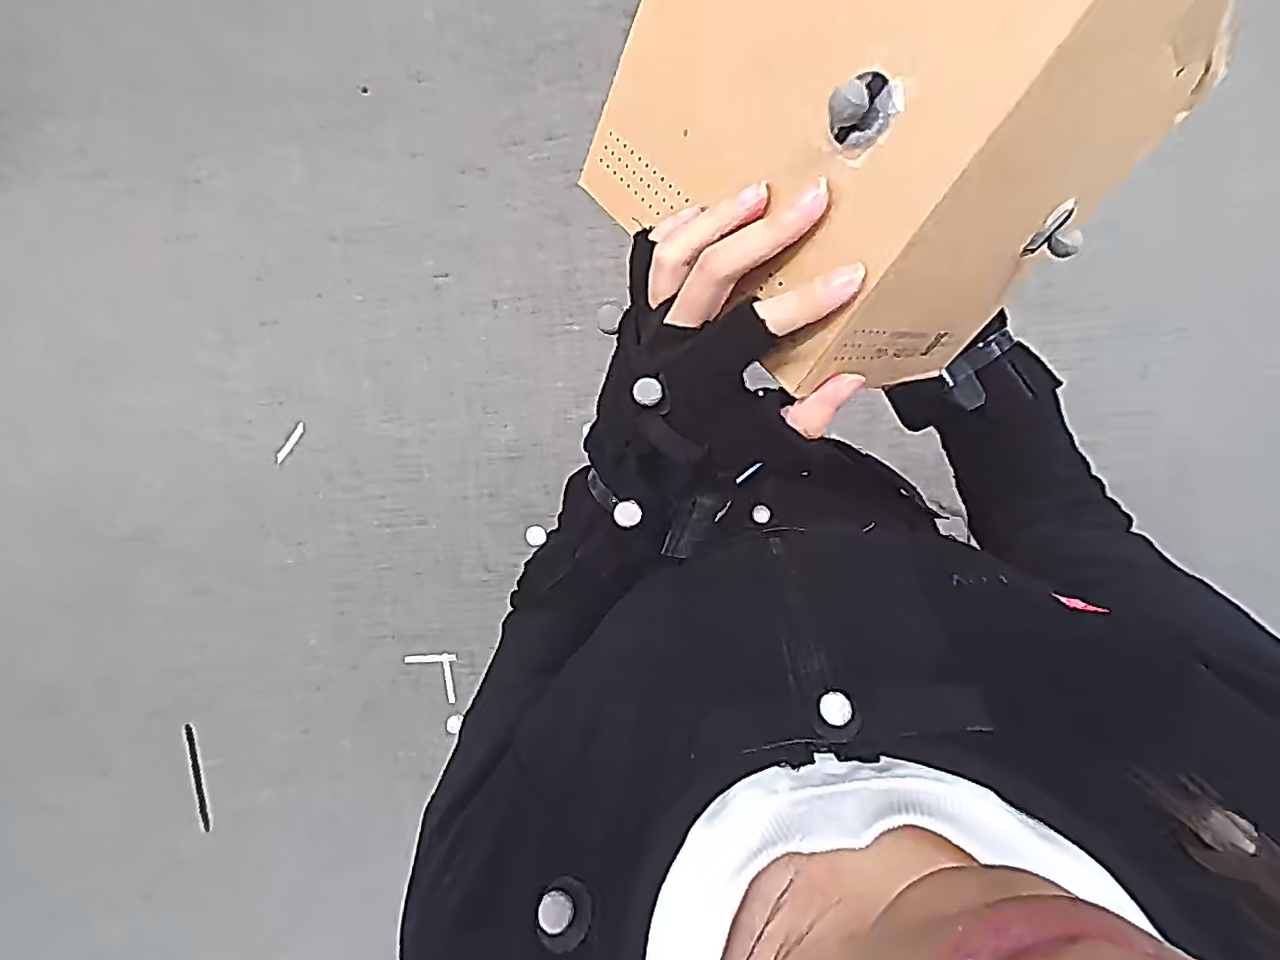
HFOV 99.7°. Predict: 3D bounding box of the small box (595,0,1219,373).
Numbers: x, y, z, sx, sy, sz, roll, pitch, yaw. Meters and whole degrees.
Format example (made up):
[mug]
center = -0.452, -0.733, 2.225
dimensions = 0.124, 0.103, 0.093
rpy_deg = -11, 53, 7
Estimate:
[small box]
center = 0.106, -0.165, 0.264
dimensions = 0.179, 0.168, 0.176
rpy_deg = 53, 133, 25
